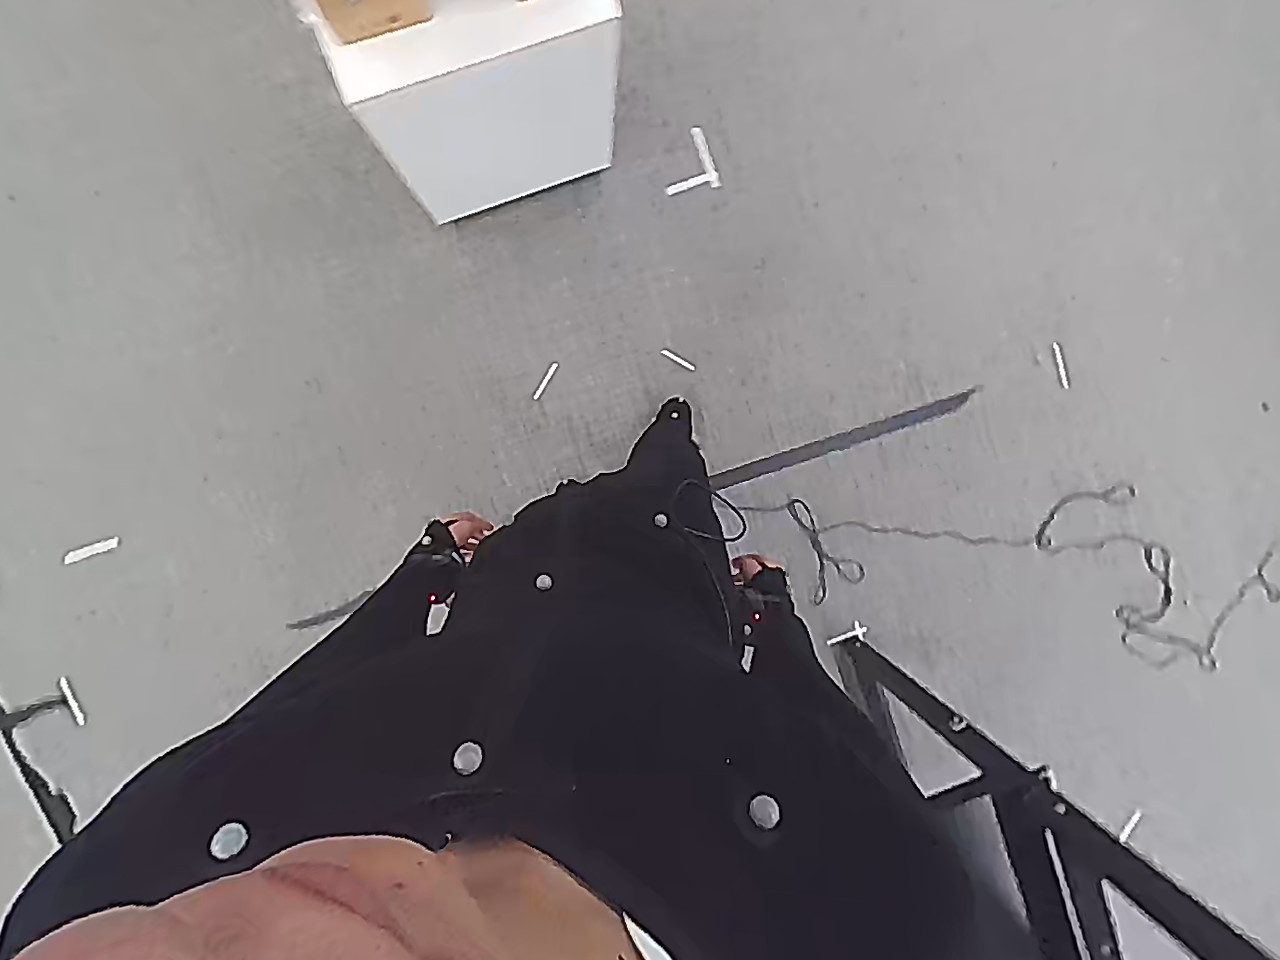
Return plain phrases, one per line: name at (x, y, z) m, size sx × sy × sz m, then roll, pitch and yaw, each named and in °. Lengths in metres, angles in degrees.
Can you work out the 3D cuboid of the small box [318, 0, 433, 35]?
small box at (-0.447, -0.843, 0.840) m, size 0.168 × 0.176 × 0.179 m, roll -19°, pitch 96°, yaw -3°
